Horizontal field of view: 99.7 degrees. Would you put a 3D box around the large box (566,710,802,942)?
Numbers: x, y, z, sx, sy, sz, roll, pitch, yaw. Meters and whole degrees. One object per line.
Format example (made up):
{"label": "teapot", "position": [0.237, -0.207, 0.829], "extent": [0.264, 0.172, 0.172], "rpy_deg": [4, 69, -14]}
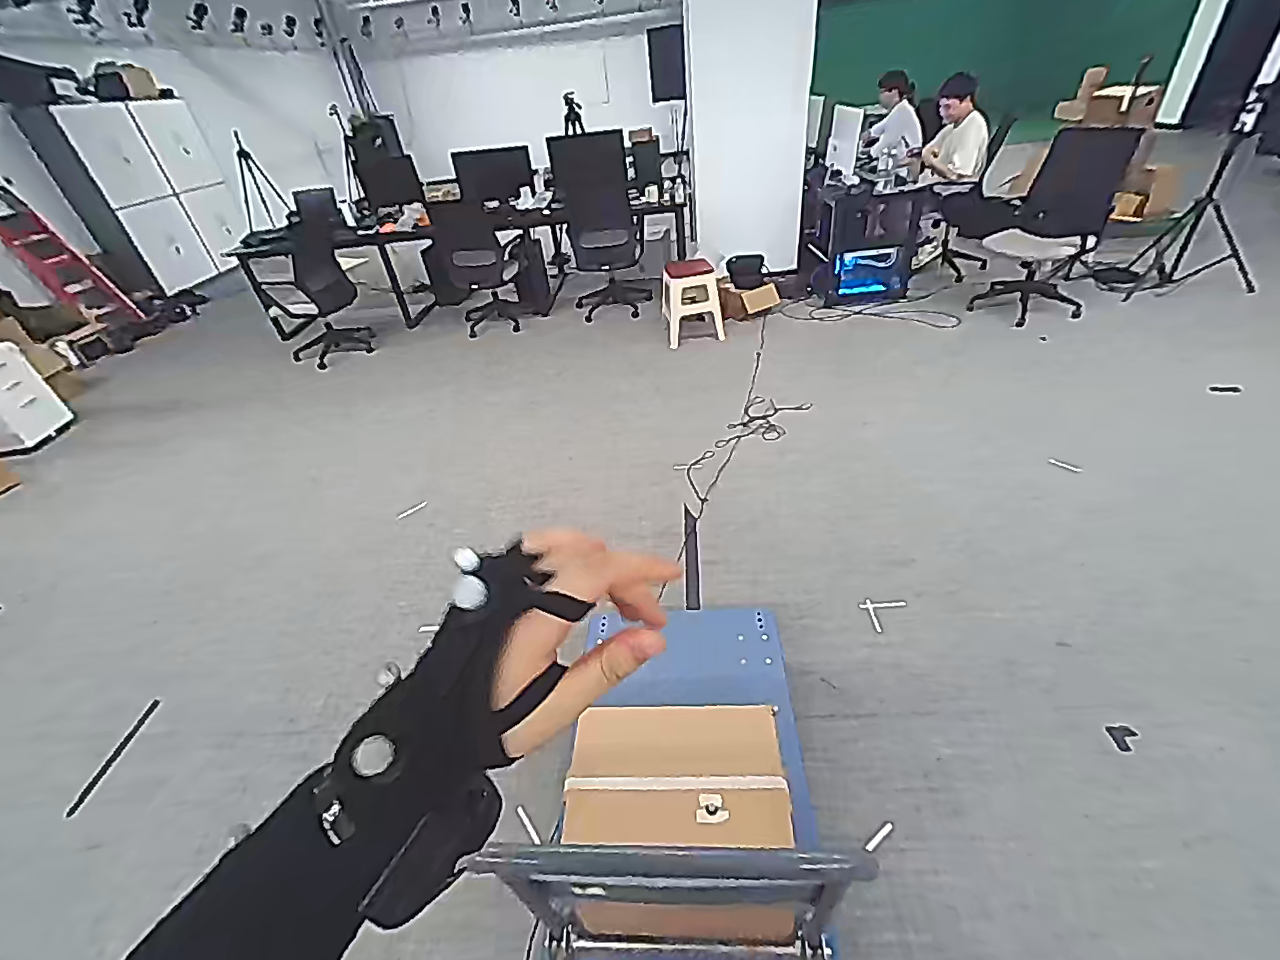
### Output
{"label": "large box", "position": [0.086, 0.701, 1.102], "extent": [0.408, 0.320, 0.320], "rpy_deg": [-3, 37, 5]}
